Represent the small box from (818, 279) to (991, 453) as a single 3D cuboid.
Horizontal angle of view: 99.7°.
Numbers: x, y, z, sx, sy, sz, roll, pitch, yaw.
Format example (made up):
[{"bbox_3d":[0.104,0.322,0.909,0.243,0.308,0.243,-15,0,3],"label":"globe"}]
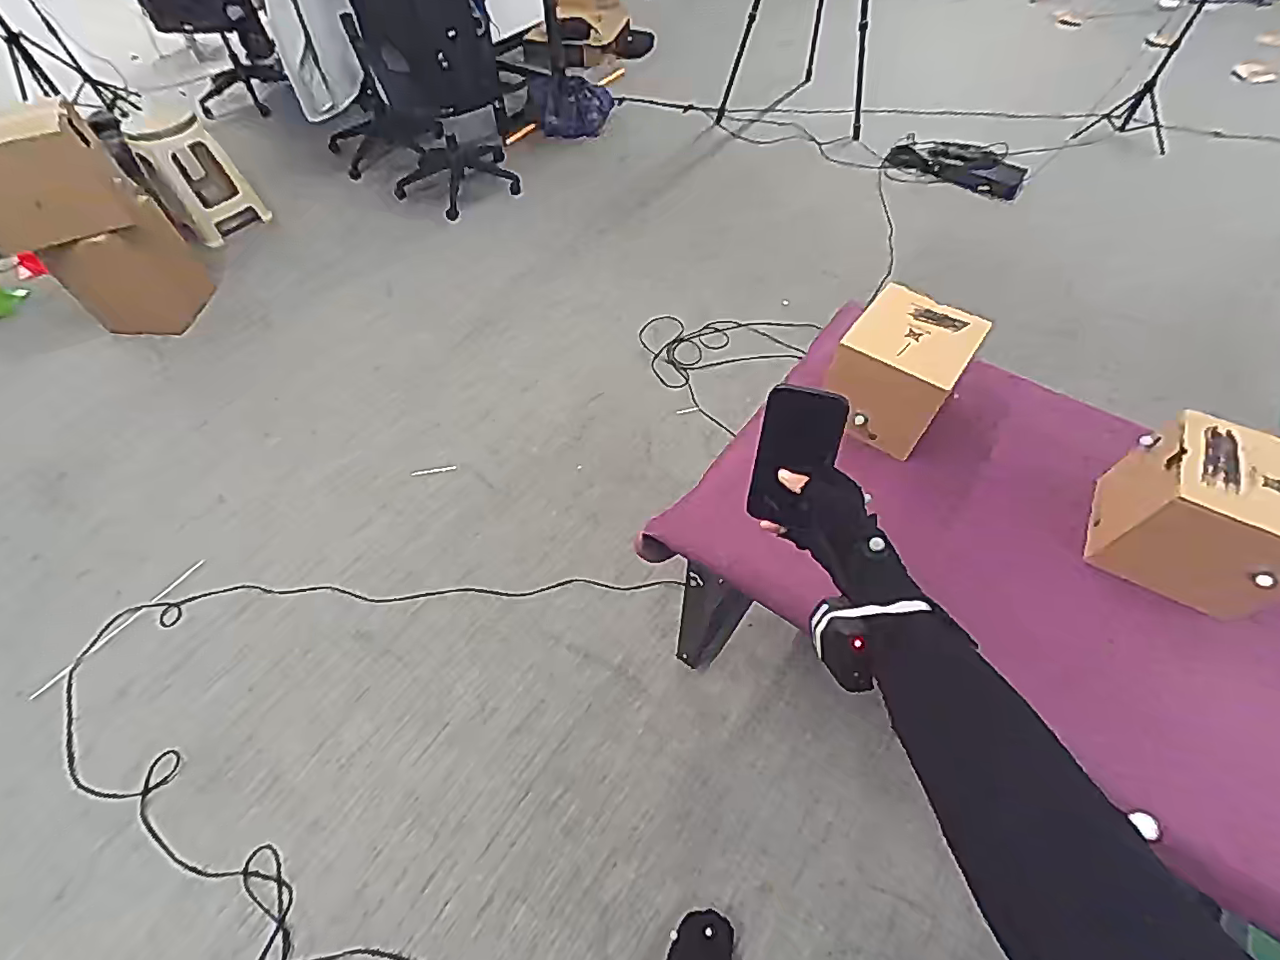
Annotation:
[{"bbox_3d":[0.407,-0.178,0.860,0.168,0.176,0.179,33,64,21],"label":"small box"}]
